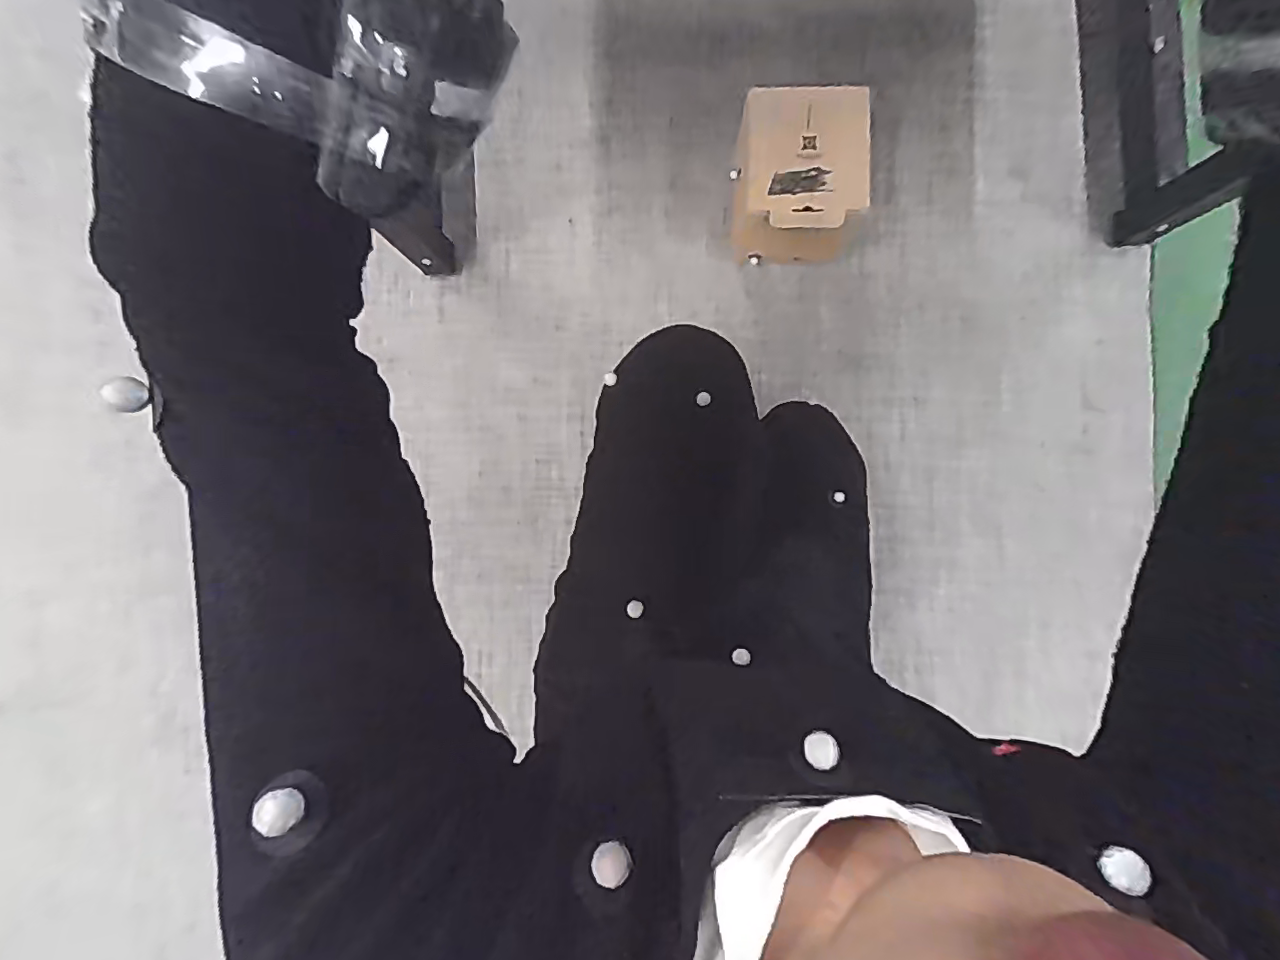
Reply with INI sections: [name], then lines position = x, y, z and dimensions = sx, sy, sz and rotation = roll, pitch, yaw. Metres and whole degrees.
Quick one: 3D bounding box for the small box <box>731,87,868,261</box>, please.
[small box]
position = 0.231, -0.448, 0.818
dimensions = 0.168, 0.176, 0.179
rotation = 2, 88, 3
